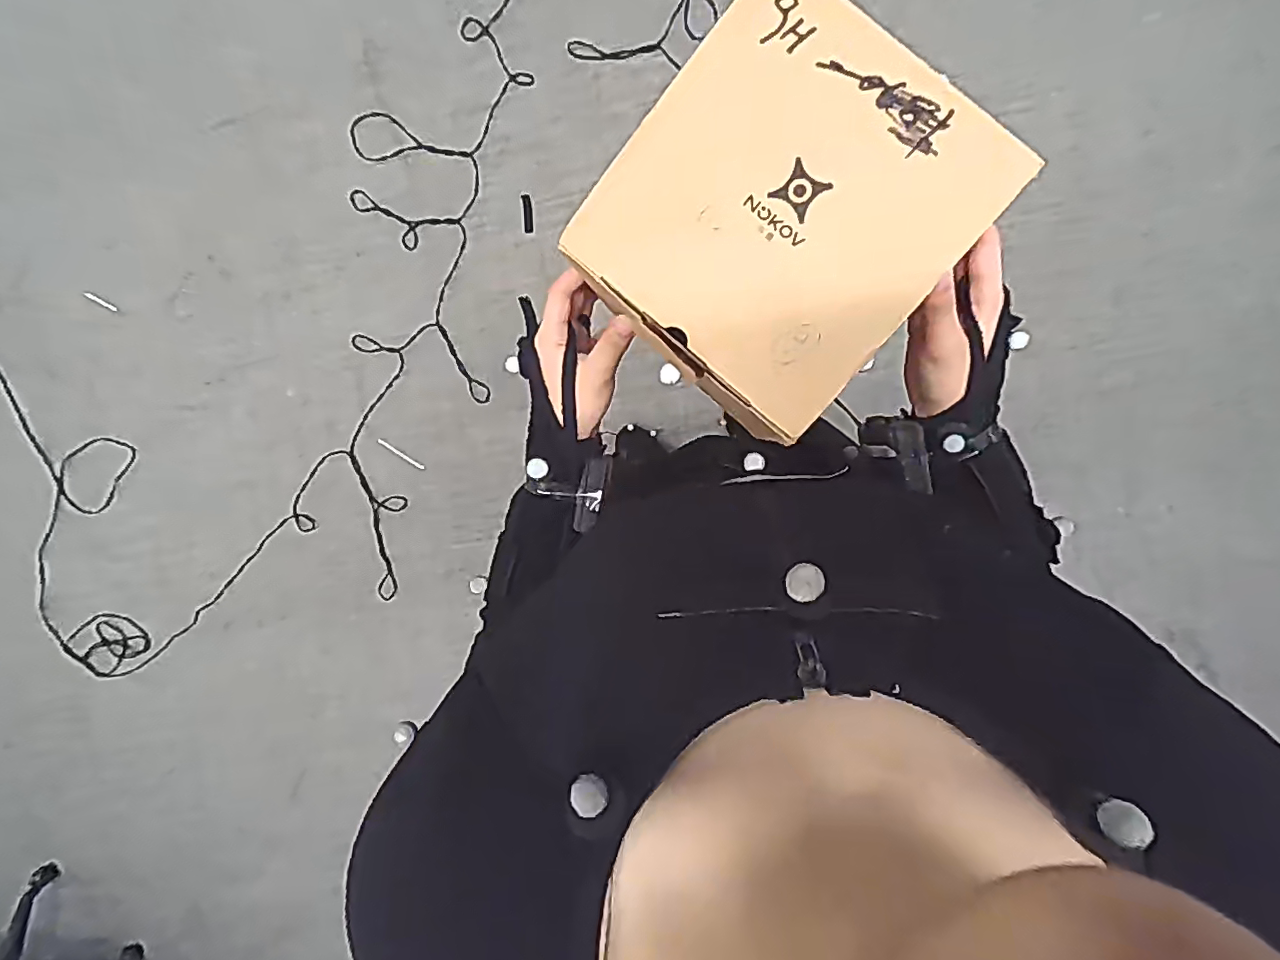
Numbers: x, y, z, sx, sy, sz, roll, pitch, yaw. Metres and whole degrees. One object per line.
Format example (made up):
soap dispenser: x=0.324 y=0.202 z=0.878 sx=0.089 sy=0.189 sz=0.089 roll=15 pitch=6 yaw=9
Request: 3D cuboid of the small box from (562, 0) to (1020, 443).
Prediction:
small box: x=0.082 y=-0.143 z=0.357 sx=0.168 sy=0.176 sz=0.179 roll=41 pitch=100 yaw=1
